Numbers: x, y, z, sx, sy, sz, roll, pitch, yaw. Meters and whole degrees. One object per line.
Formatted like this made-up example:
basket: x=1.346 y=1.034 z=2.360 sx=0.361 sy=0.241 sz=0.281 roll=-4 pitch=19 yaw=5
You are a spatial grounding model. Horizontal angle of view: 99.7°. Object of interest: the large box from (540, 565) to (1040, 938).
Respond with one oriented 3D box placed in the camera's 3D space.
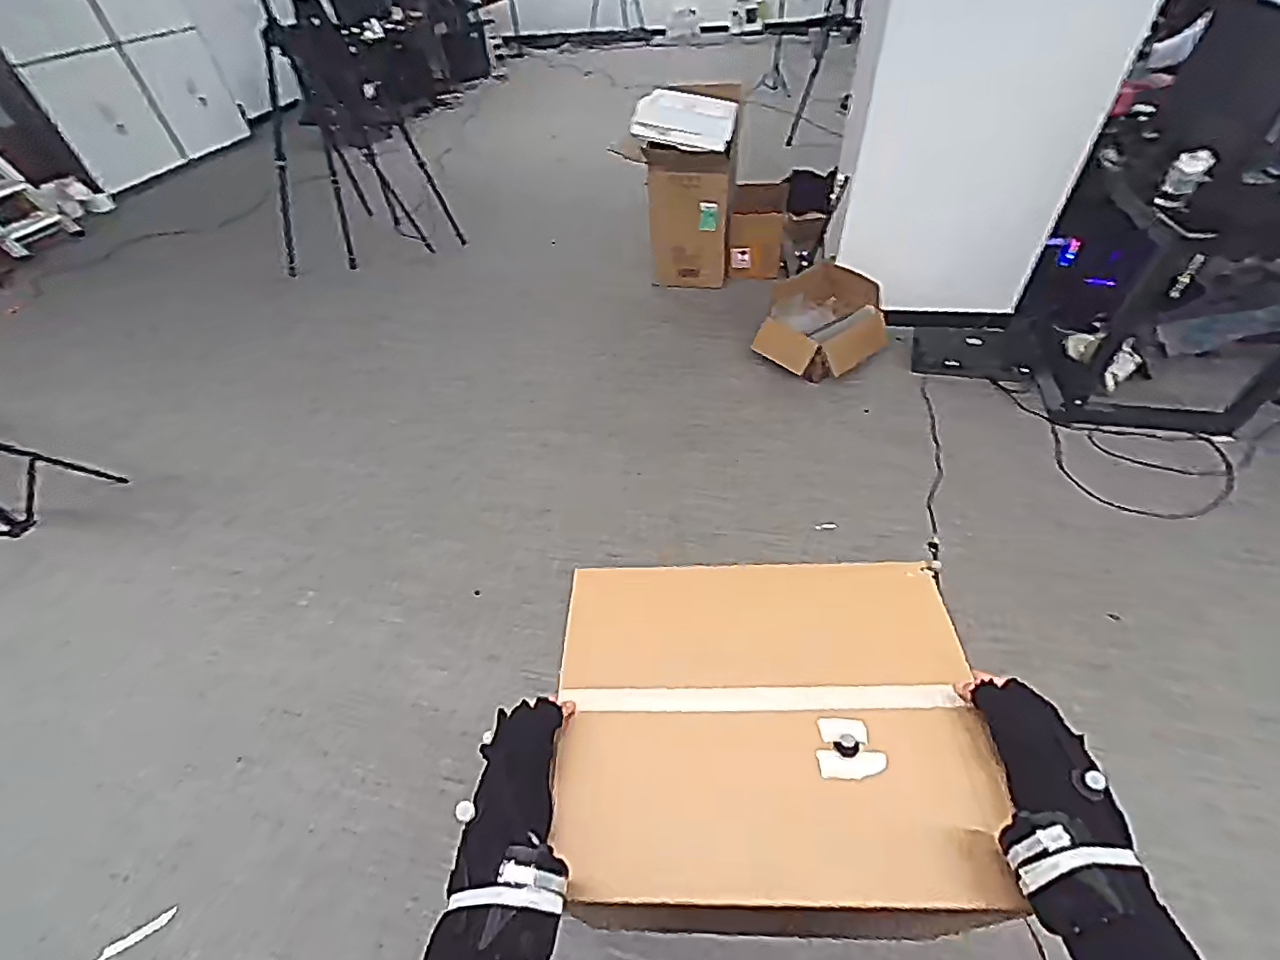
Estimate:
large box: x=0.123 y=0.321 z=0.635 sx=0.408 sy=0.320 sz=0.320 roll=-2 pitch=46 yaw=3
